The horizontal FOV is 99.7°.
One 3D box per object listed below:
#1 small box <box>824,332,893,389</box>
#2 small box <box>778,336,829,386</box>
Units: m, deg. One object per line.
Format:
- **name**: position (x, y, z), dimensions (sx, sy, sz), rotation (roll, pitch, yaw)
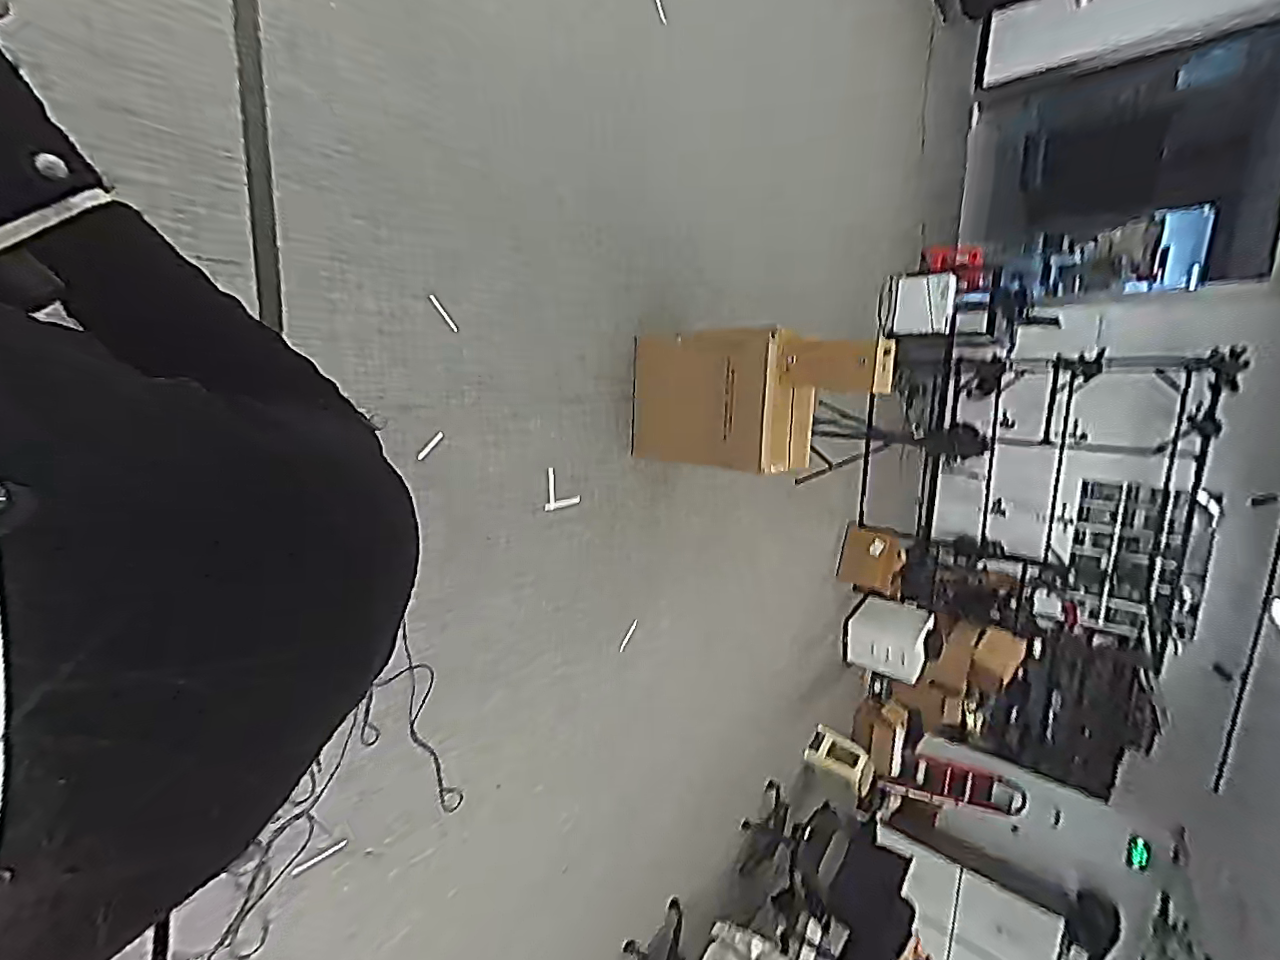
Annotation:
- **small box**: position (0.736, -0.400, 1.826), dimensions (0.168, 0.176, 0.179), rotation (-10, 106, -47)
- **small box**: position (0.616, -0.424, 1.936), dimensions (0.179, 0.176, 0.168), rotation (-9, 104, -46)
